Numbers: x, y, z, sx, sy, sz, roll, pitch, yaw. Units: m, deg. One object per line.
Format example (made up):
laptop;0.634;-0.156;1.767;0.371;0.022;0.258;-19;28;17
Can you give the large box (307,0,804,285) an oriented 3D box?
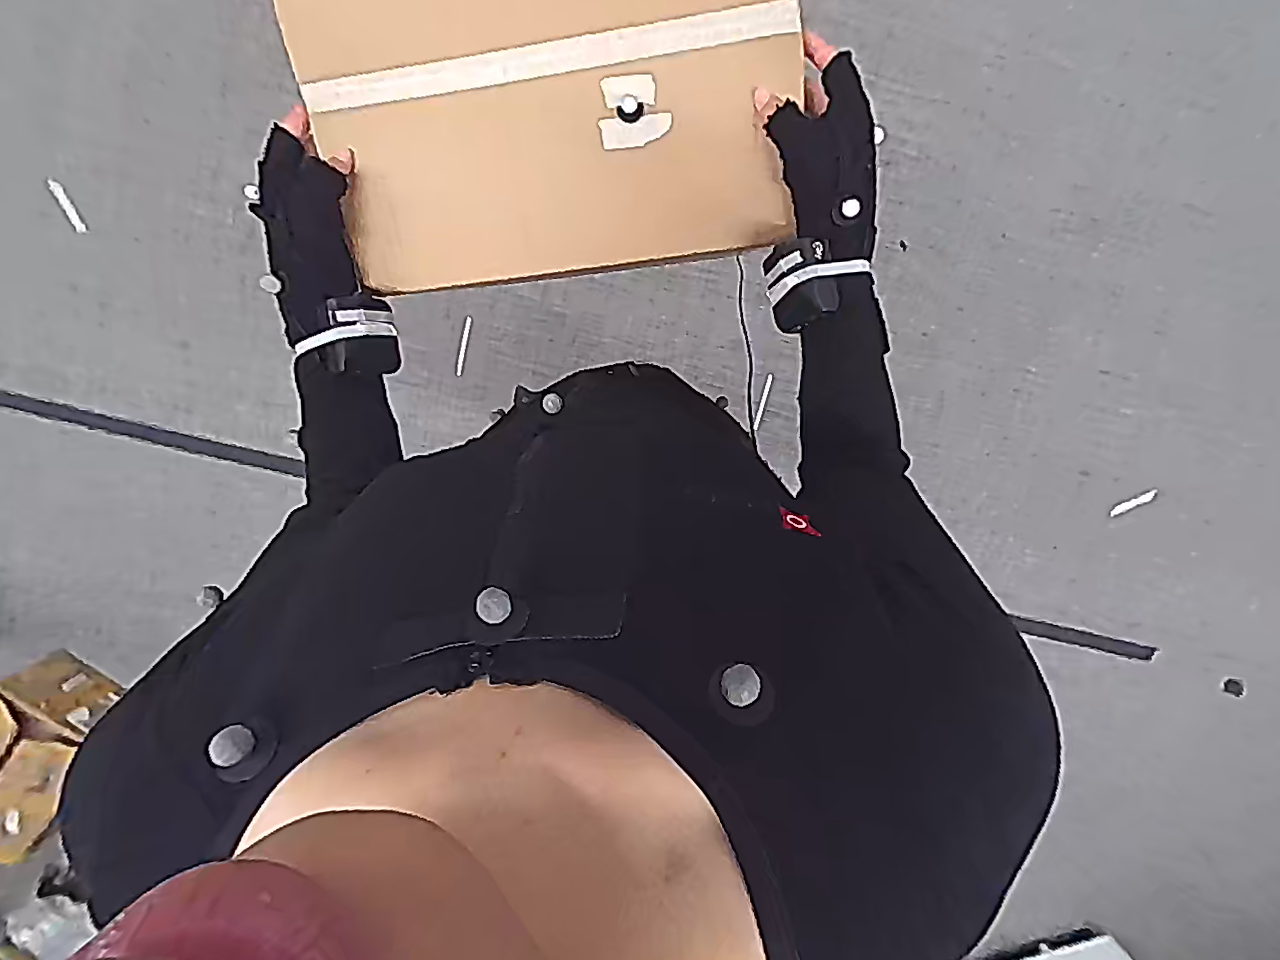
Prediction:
large box;-0.063;-0.397;0.586;0.408;0.320;0.320;-5;110;4
